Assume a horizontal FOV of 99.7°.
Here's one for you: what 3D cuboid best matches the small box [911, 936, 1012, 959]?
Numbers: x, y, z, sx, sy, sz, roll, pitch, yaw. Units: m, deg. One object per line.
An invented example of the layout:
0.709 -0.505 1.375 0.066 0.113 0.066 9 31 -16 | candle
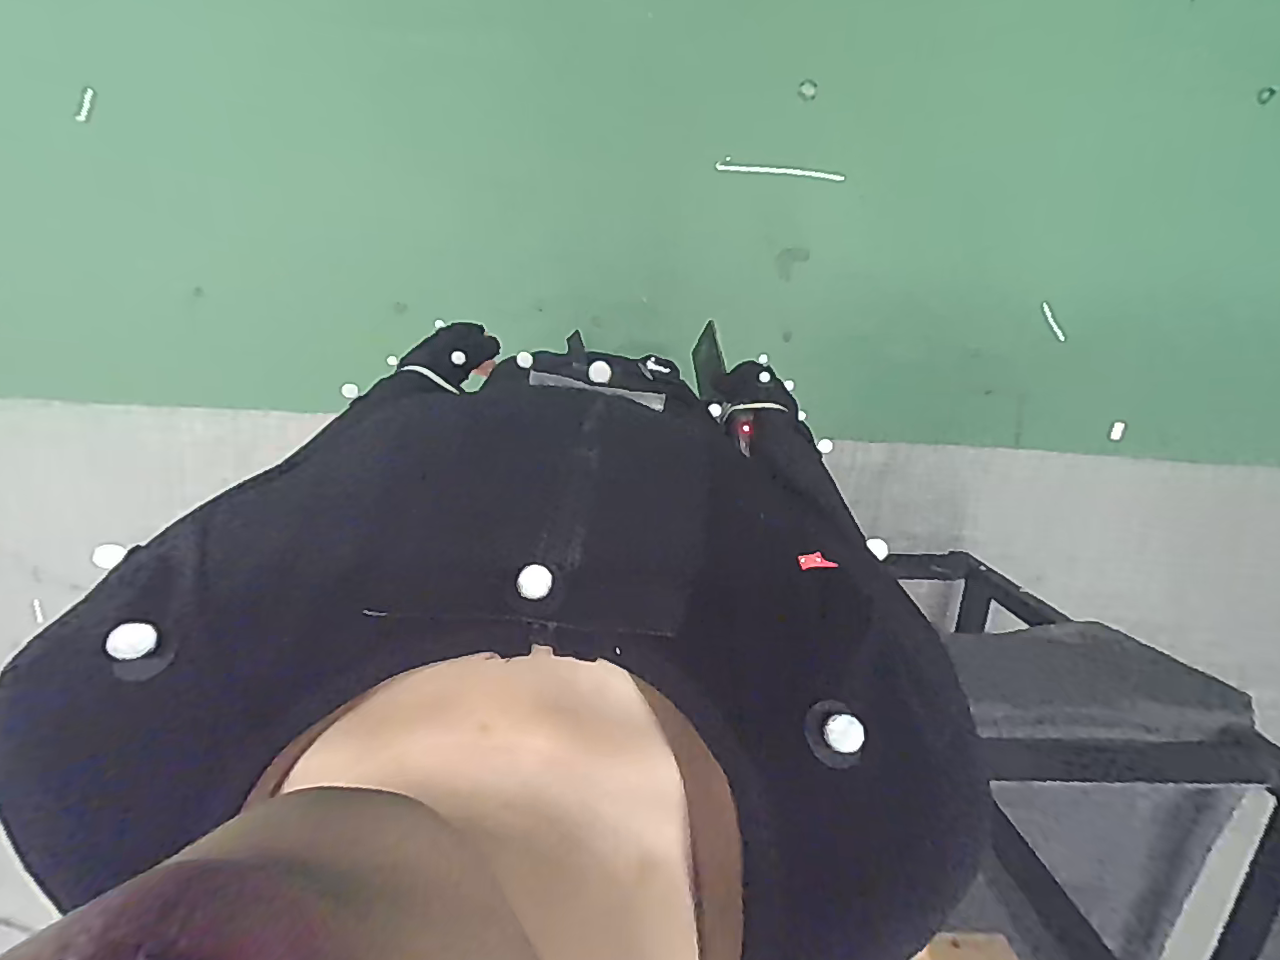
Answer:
0.572 0.923 0.918 0.168 0.176 0.179 5 104 -3 | small box
